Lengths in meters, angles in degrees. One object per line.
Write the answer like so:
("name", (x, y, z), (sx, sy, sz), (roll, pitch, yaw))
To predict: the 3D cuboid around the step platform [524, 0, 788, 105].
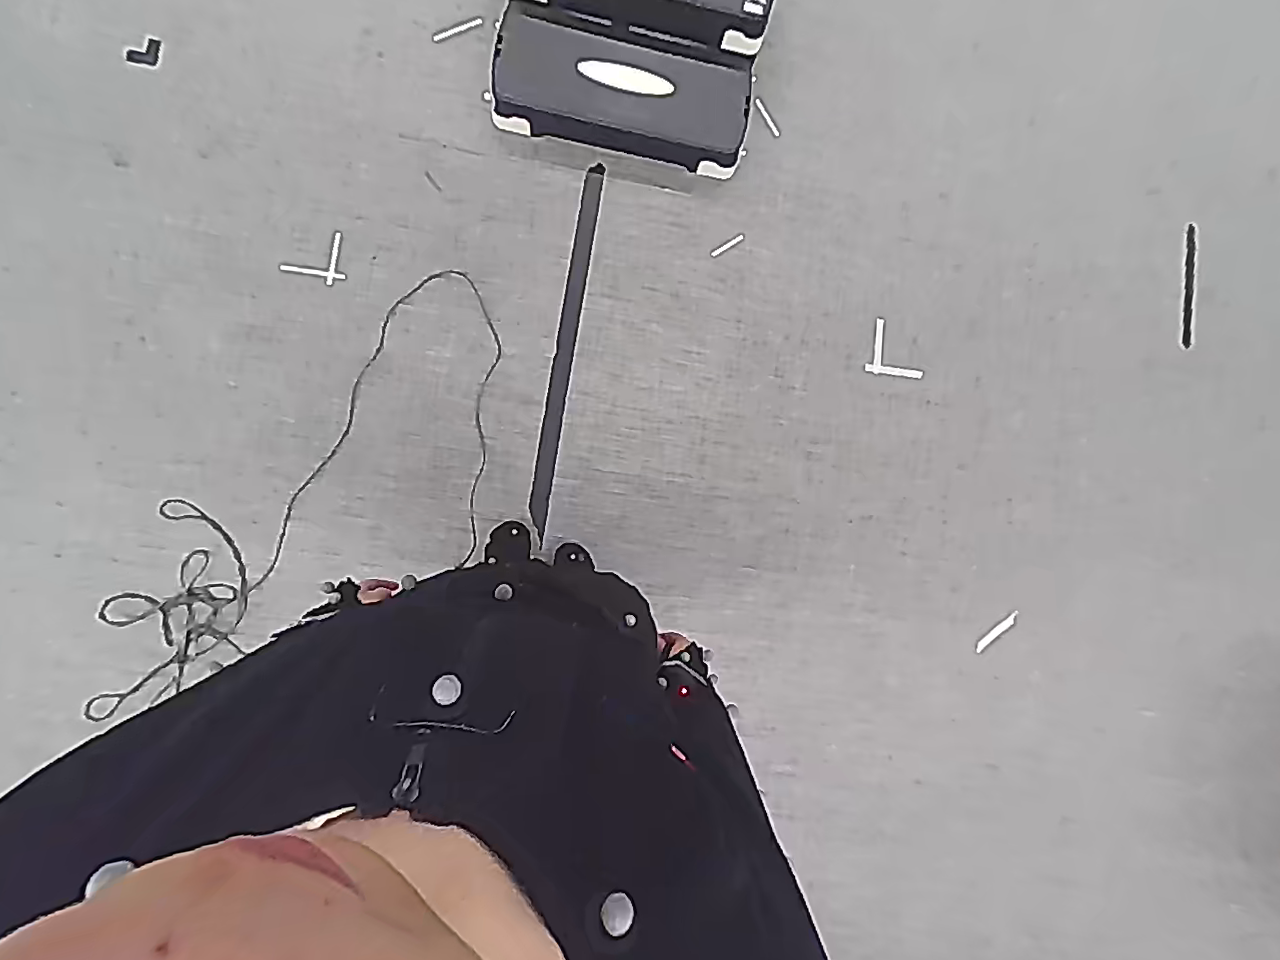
("step platform", (0.044, -1.274, 1.431), (0.684, 0.204, 0.286), (13, 84, -6))
